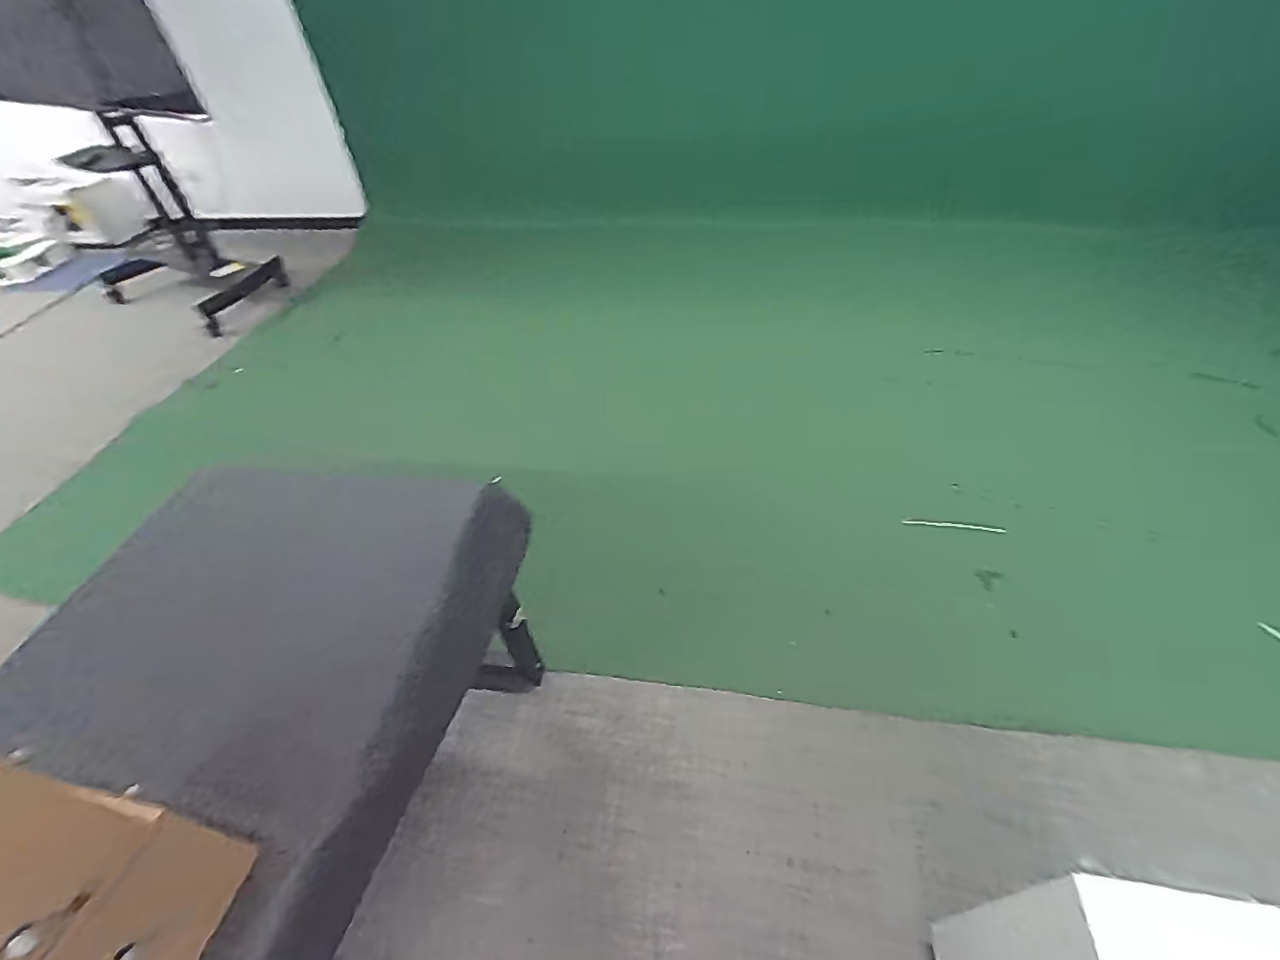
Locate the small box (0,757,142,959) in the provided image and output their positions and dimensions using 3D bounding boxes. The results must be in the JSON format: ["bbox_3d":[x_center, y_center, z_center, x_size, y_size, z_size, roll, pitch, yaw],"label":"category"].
[{"bbox_3d":[-0.555,0.302,0.402,0.179,0.176,0.168,4,46,12],"label":"small box"}]

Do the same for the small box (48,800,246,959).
[{"bbox_3d":[-0.538,0.419,0.517,0.168,0.176,0.179,5,47,11],"label":"small box"}]
